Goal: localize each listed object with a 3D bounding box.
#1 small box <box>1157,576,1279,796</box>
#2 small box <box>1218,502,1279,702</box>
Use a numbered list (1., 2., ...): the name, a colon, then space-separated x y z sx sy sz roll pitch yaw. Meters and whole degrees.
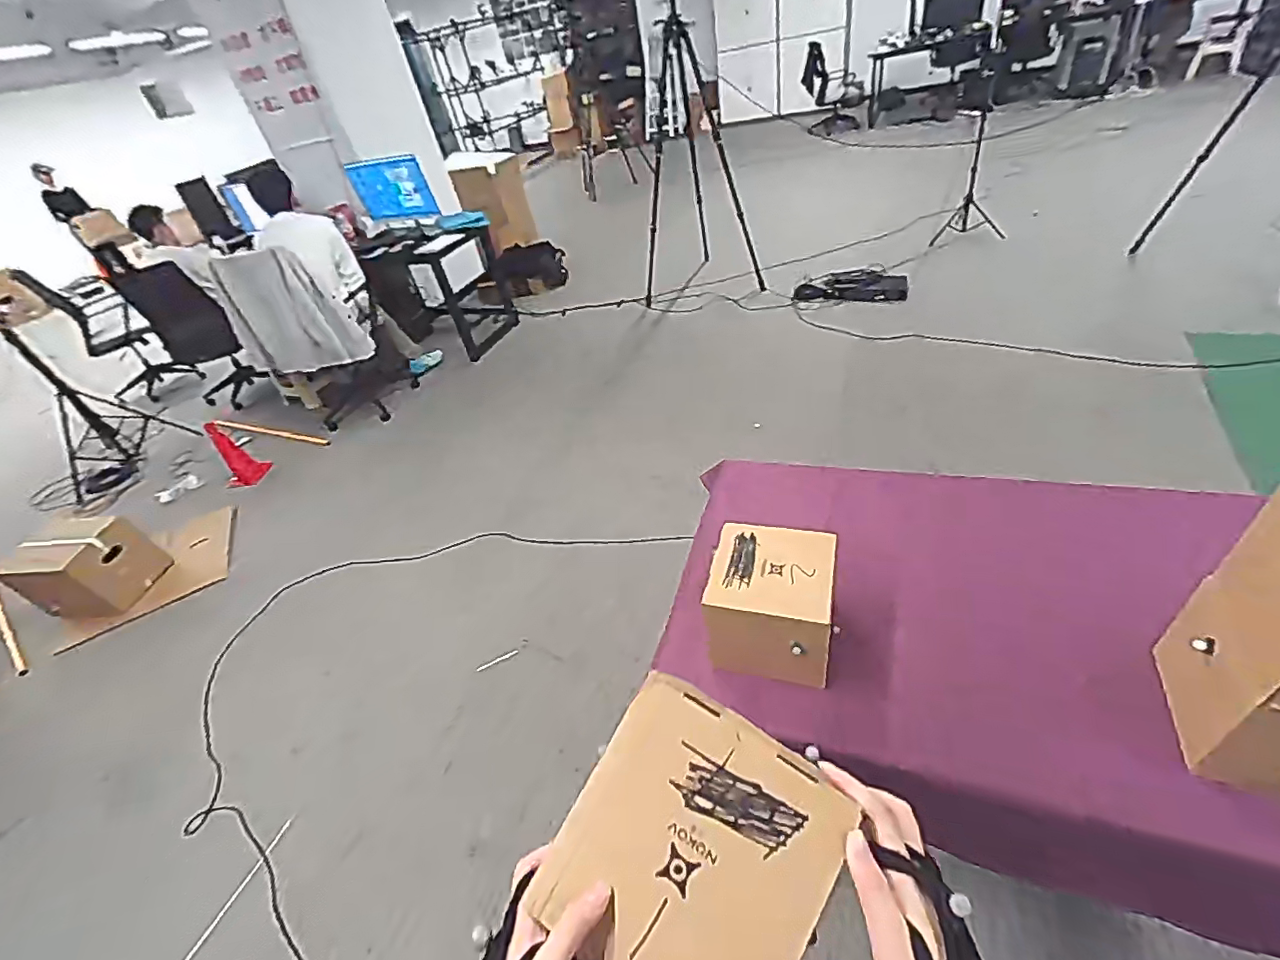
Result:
1. small box: 0.743 0.242 0.617 0.168 0.176 0.179 7 44 24
2. small box: 0.715 0.119 0.514 0.168 0.176 0.179 7 45 24
